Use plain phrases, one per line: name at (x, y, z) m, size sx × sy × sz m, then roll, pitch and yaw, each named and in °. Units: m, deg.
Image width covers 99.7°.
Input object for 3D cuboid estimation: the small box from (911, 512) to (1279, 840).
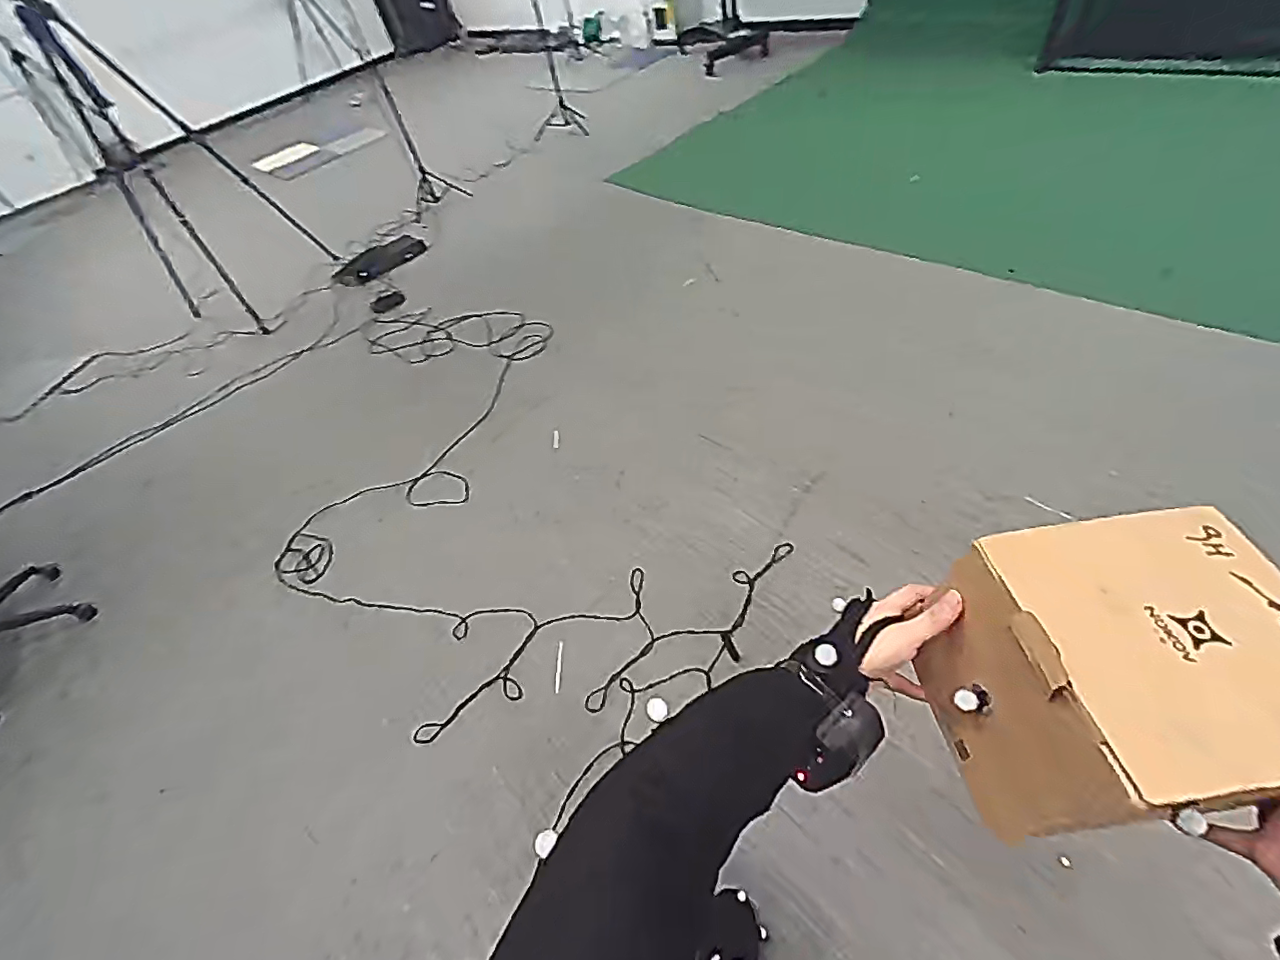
small box at (0.326, 0.148, 0.397) m, size 0.179 × 0.176 × 0.168 m, roll -8°, pitch 50°, yaw -2°
